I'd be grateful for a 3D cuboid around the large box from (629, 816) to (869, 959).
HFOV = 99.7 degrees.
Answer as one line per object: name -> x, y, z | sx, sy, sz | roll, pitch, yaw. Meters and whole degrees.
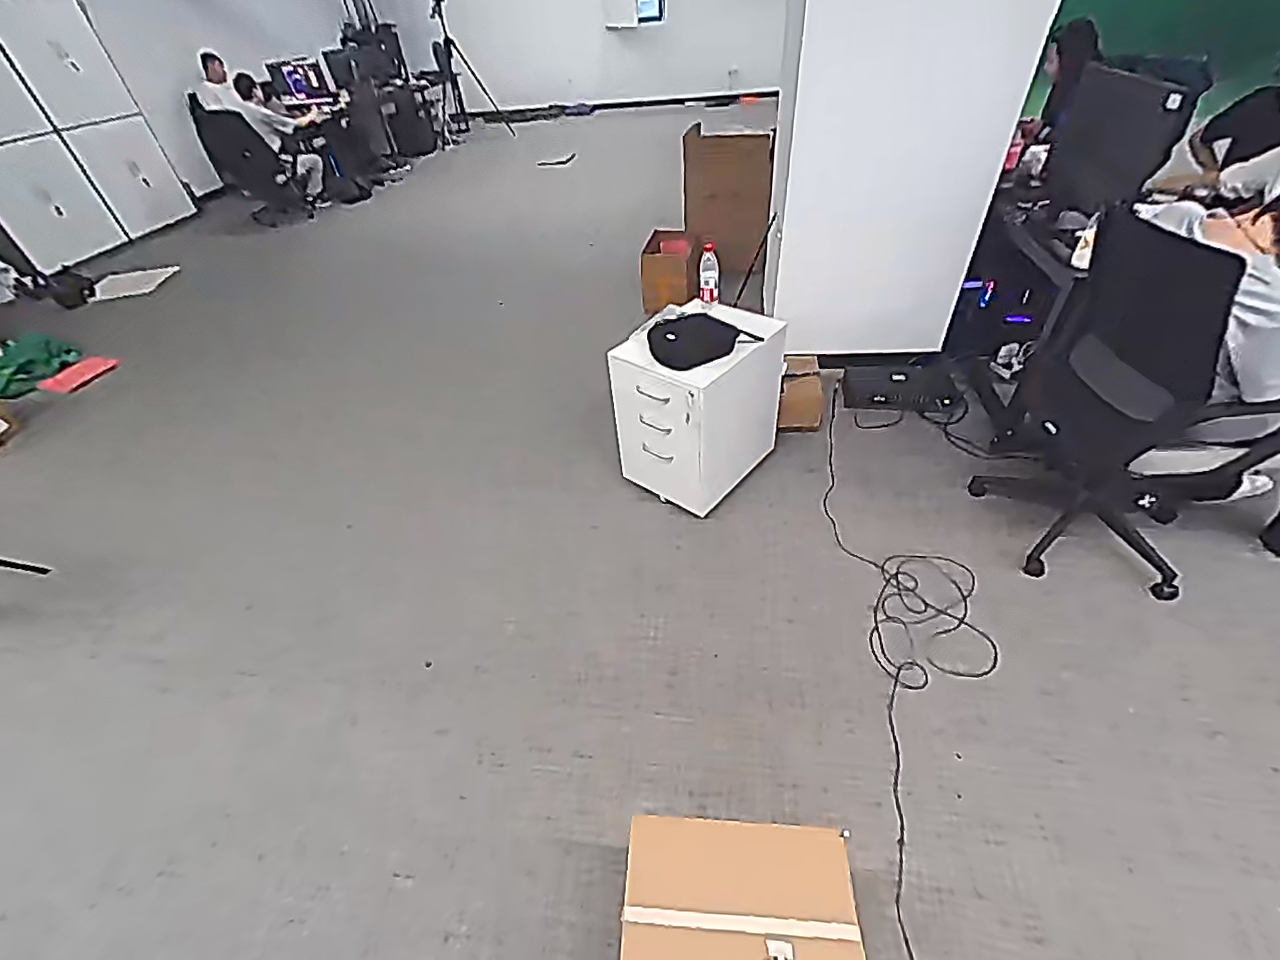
large box -> 0.192, 0.878, 1.036 | 0.408, 0.320, 0.320 | 0, 42, 6
